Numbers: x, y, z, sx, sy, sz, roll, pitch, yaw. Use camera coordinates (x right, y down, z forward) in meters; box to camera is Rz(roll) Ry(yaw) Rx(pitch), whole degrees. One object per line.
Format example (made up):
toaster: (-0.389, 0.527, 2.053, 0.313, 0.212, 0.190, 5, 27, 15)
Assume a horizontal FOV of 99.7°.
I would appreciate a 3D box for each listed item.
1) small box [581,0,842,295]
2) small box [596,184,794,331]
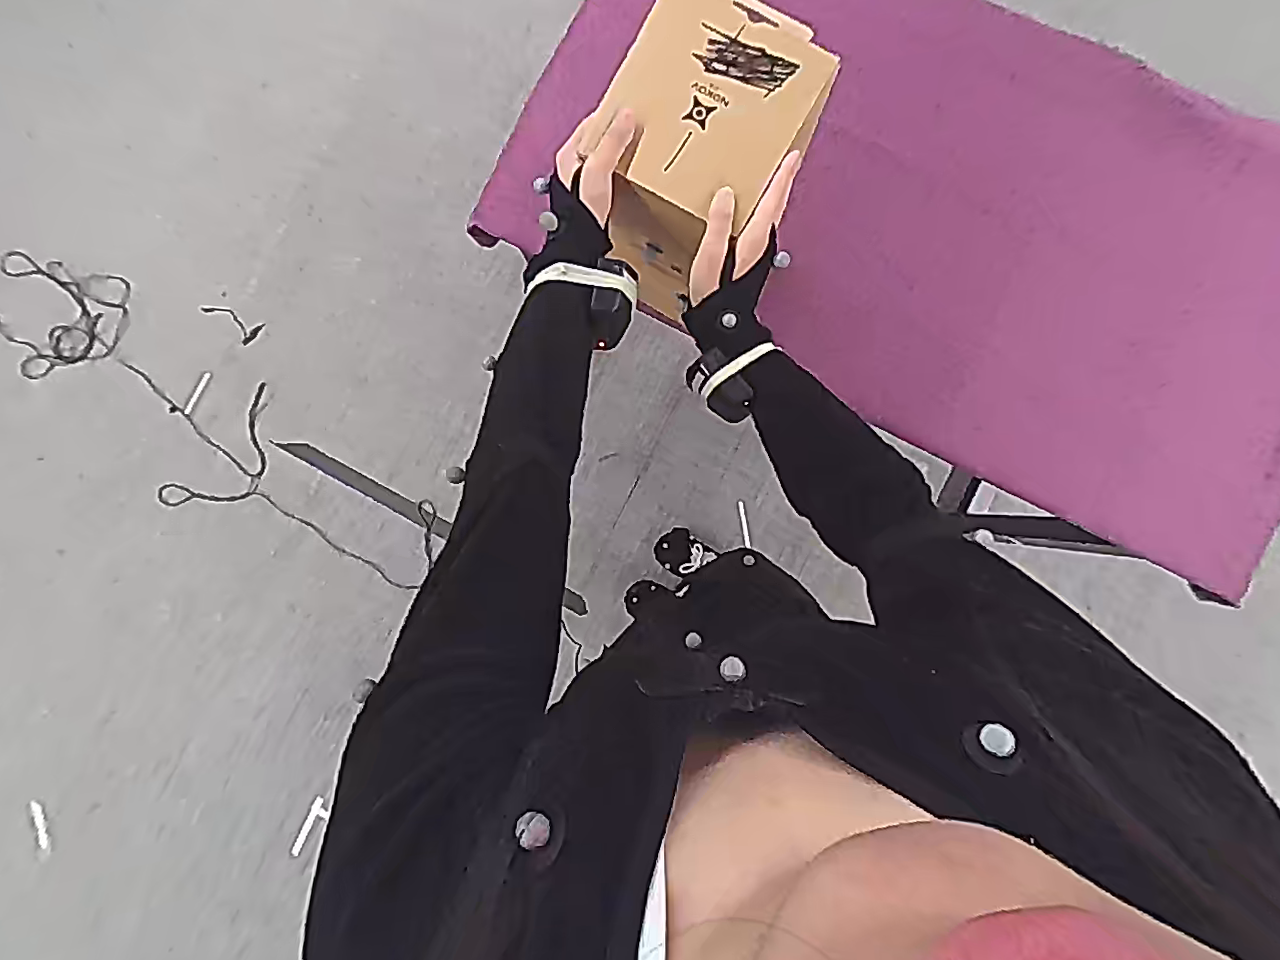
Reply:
small box: (0.064, -0.320, 0.540, 0.168, 0.176, 0.179, 31, 93, 3)
small box: (0.068, -0.314, 0.704, 0.179, 0.176, 0.168, 32, 92, 4)
